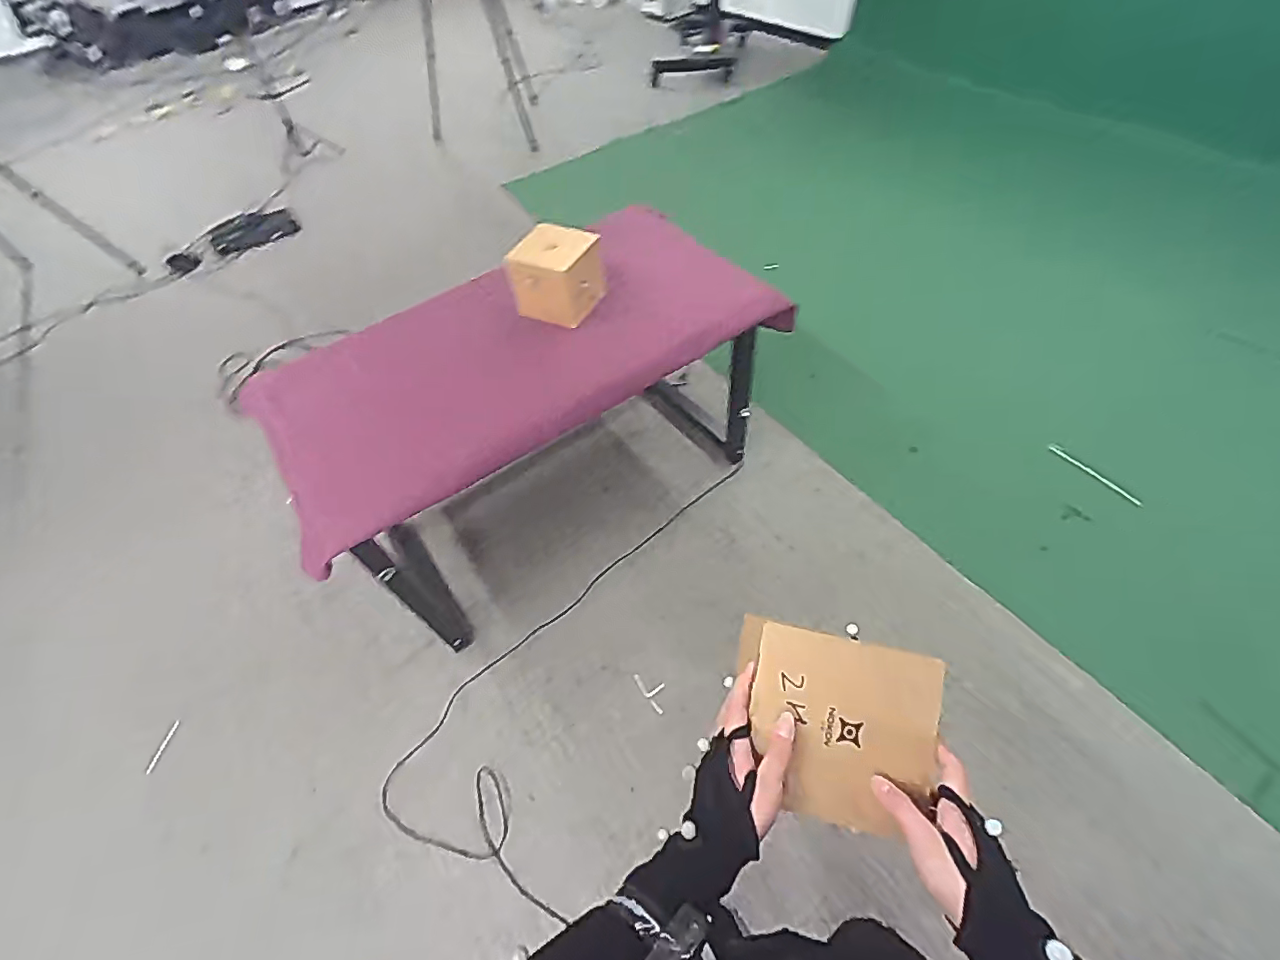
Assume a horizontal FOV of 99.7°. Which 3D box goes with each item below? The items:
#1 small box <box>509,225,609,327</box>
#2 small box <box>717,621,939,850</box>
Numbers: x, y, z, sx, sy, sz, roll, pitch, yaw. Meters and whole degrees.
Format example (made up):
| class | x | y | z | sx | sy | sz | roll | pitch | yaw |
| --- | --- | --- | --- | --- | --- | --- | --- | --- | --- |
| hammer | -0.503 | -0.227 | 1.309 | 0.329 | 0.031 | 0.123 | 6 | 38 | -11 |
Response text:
| class | x | y | z | sx | sy | sz | roll | pitch | yaw |
| --- | --- | --- | --- | --- | --- | --- | --- | --- | --- |
| small box | -0.197 | -0.515 | 1.377 | 0.179 | 0.176 | 0.168 | 20 | 59 | 20 |
| small box | 0.186 | 0.251 | 0.581 | 0.179 | 0.176 | 0.168 | 11 | 79 | 7 |
